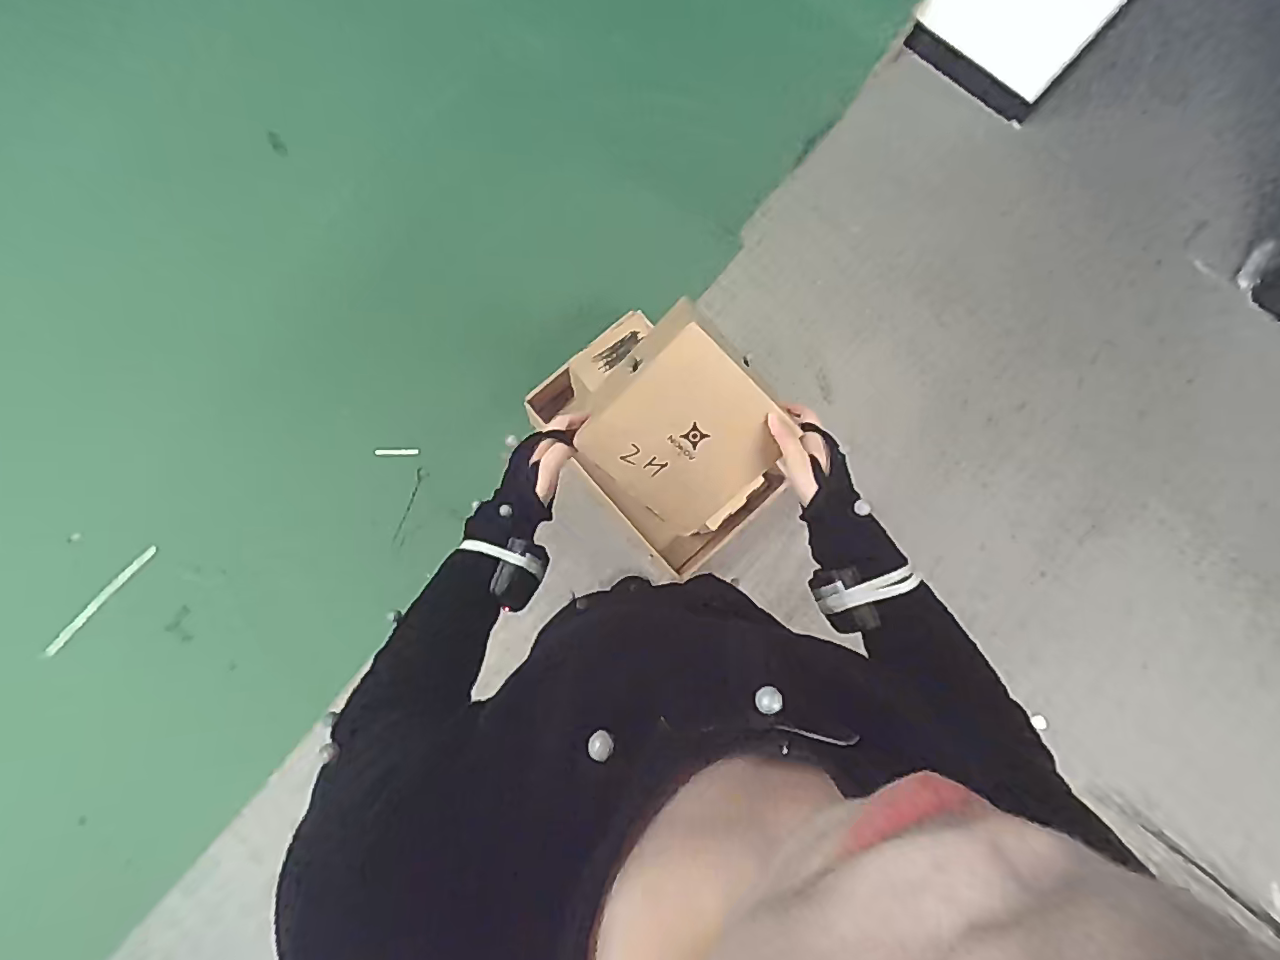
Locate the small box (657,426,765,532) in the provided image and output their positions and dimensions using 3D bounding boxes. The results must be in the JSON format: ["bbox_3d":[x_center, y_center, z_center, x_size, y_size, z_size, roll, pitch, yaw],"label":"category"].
[{"bbox_3d":[0.156,0.006,1.254,0.168,0.176,0.179,-42,84,-7],"label":"small box"}]
